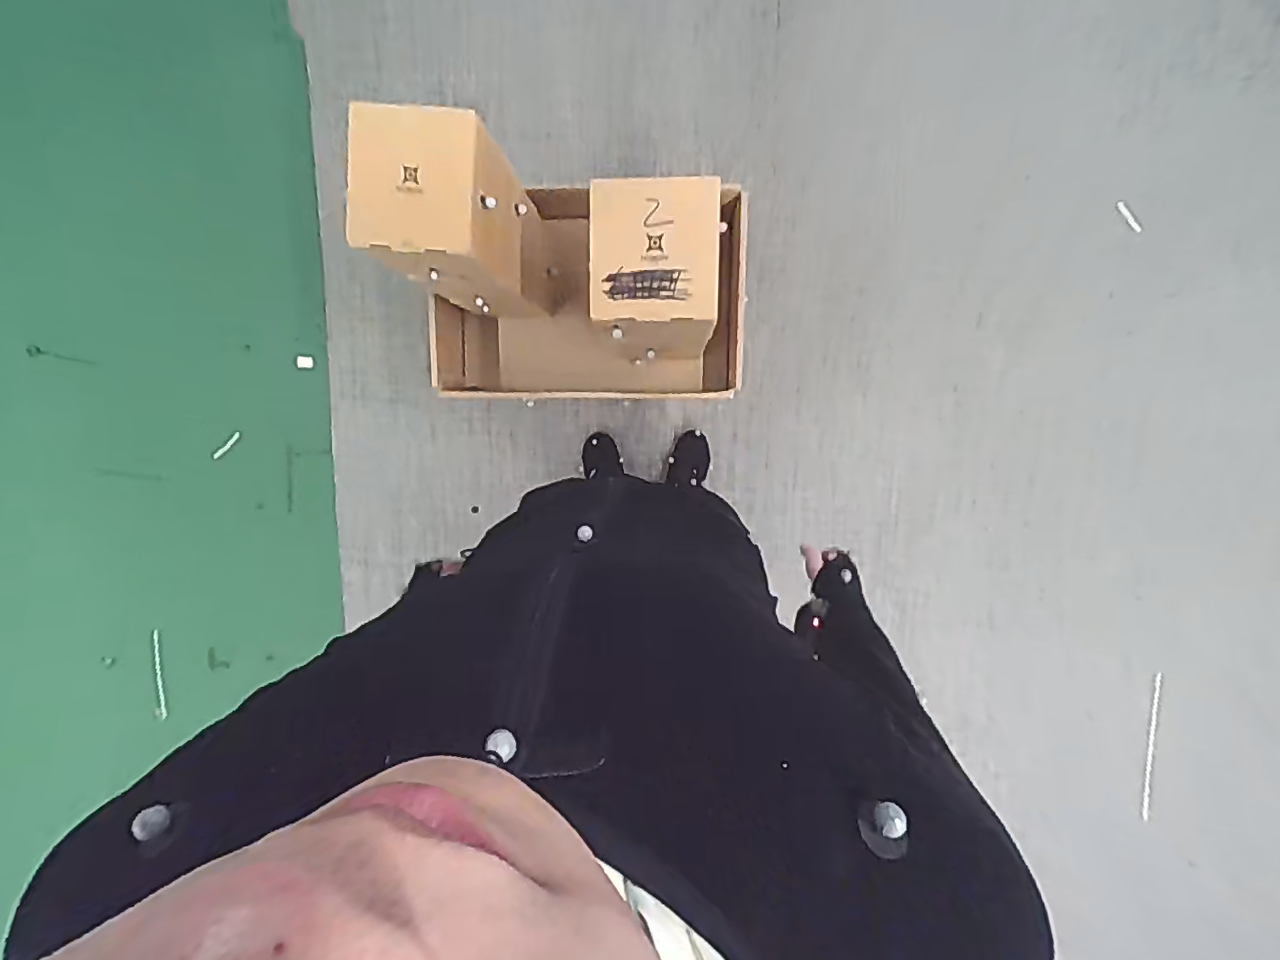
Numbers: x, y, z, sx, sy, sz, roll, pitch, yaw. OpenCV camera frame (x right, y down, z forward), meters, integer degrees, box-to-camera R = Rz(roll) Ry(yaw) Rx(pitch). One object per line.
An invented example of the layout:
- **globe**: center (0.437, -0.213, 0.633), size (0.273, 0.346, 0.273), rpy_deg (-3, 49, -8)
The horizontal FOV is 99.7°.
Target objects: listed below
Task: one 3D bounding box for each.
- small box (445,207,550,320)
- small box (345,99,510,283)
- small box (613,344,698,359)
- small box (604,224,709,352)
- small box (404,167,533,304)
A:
- **small box**: center (-0.280, -0.432, 1.090), size (0.168, 0.176, 0.179), rpy_deg (3, 96, 2)
- **small box**: center (-0.289, -0.396, 0.767), size (0.168, 0.176, 0.179), rpy_deg (6, 98, 2)
- **small box**: center (0.036, -0.339, 1.086), size (0.168, 0.176, 0.179), rpy_deg (0, 96, 2)
- **small box**: center (0.028, -0.318, 0.925), size (0.168, 0.176, 0.179), rpy_deg (0, 97, 3)
- **small box**: center (-0.285, -0.414, 0.928), size (0.168, 0.176, 0.179), rpy_deg (5, 97, 3)
